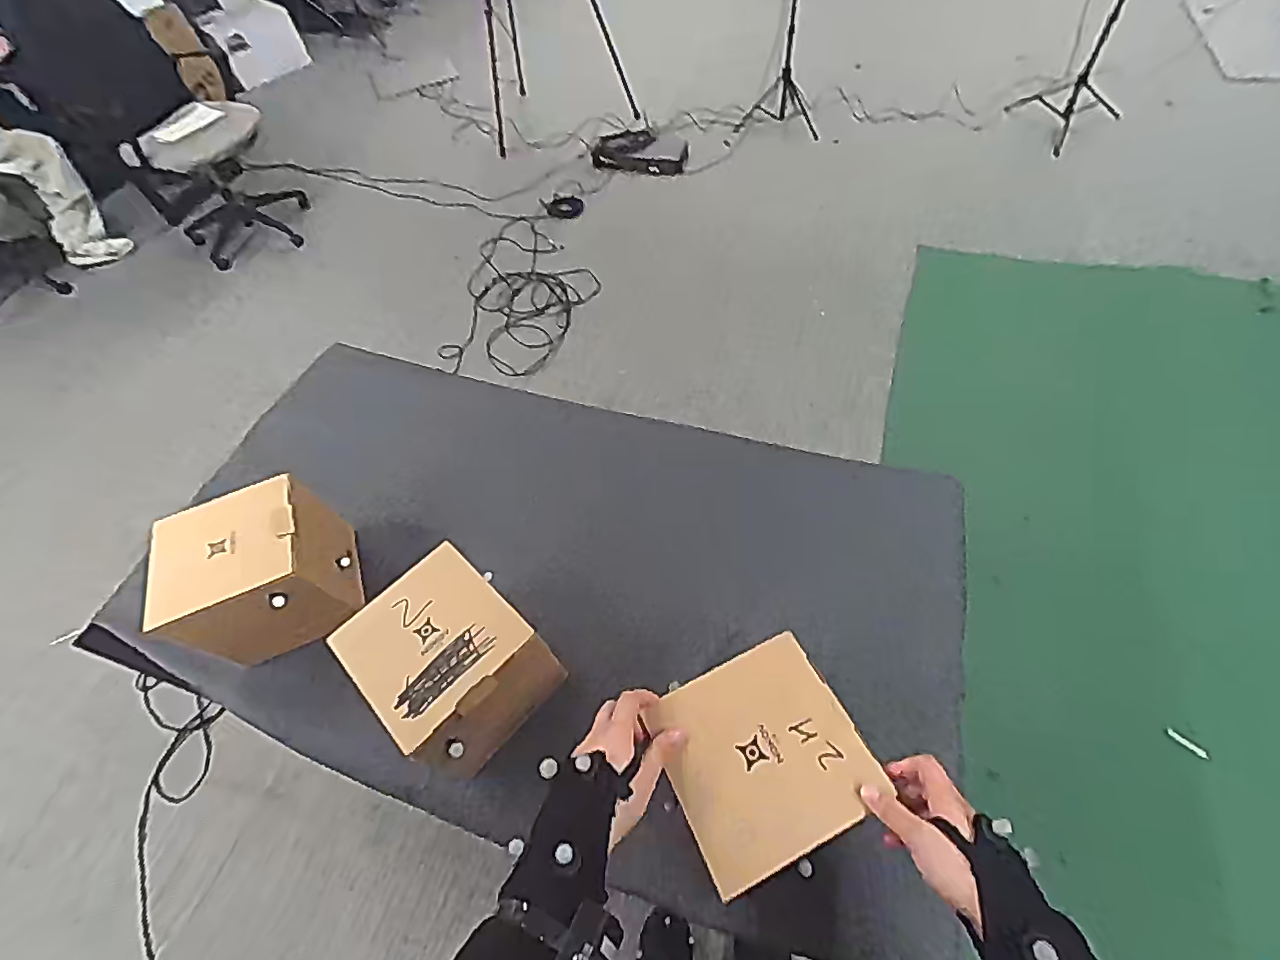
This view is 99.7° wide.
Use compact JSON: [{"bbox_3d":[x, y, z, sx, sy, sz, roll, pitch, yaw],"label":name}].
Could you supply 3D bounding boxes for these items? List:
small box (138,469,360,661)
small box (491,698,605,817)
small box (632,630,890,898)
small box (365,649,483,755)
[{"bbox_3d":[-0.517,0.122,0.738,0.179,0.176,0.168,-23,57,-9],"label":"small box"},{"bbox_3d":[-0.200,0.636,1.236,0.179,0.176,0.168,30,64,26],"label":"small box"},{"bbox_3d":[0.111,0.287,0.548,0.179,0.176,0.168,-24,55,-10],"label":"small box"},{"bbox_3d":[-0.522,0.551,1.330,0.179,0.176,0.168,23,62,22],"label":"small box"}]
